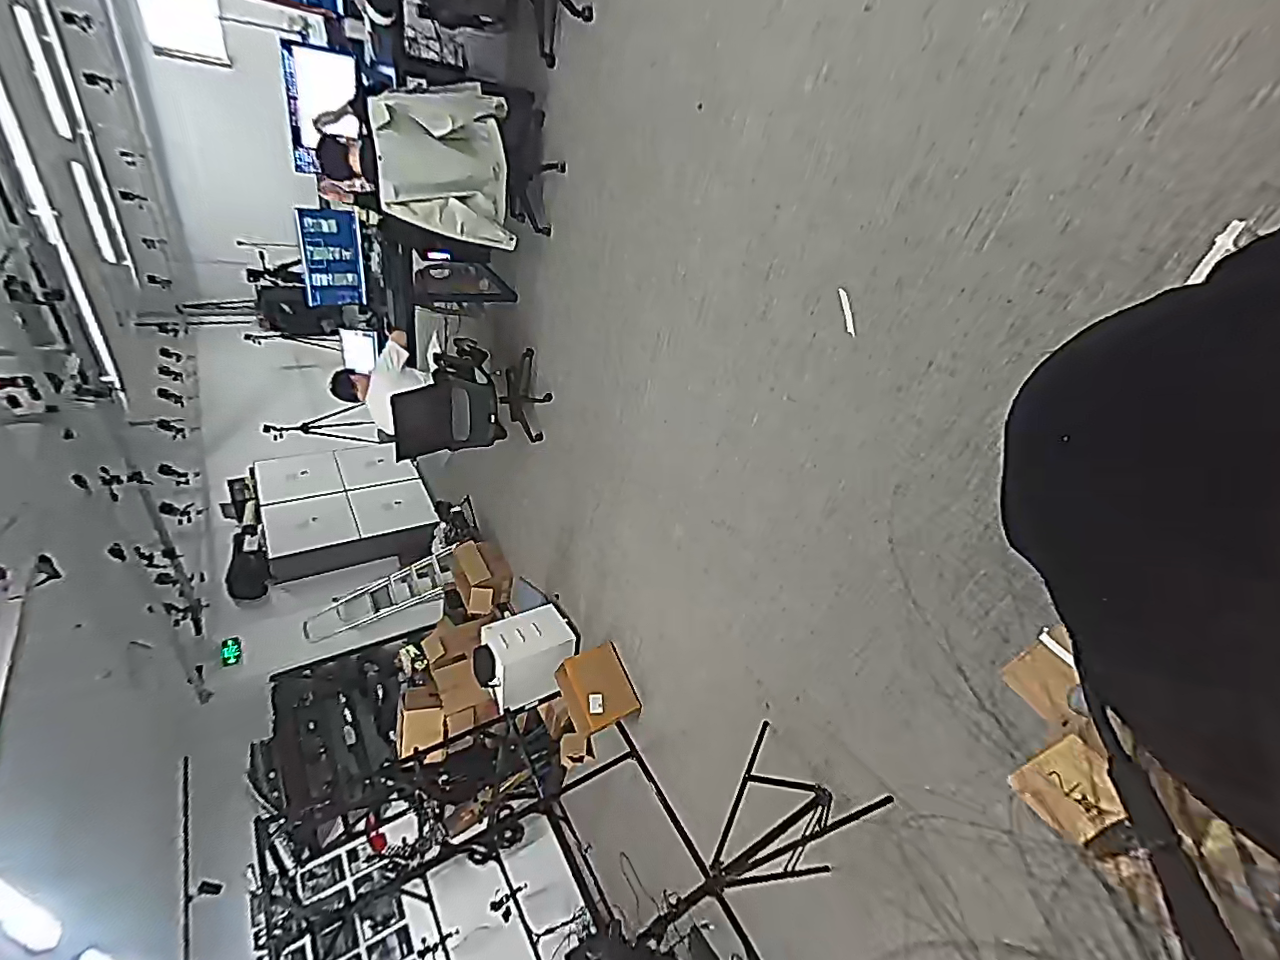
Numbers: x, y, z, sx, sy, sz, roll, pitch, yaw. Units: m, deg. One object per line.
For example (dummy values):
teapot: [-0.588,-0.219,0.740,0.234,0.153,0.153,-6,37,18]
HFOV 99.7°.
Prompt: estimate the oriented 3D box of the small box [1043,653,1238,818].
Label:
small box: [0.881,0.441,0.955,0.179,0.176,0.168,49,137,38]
